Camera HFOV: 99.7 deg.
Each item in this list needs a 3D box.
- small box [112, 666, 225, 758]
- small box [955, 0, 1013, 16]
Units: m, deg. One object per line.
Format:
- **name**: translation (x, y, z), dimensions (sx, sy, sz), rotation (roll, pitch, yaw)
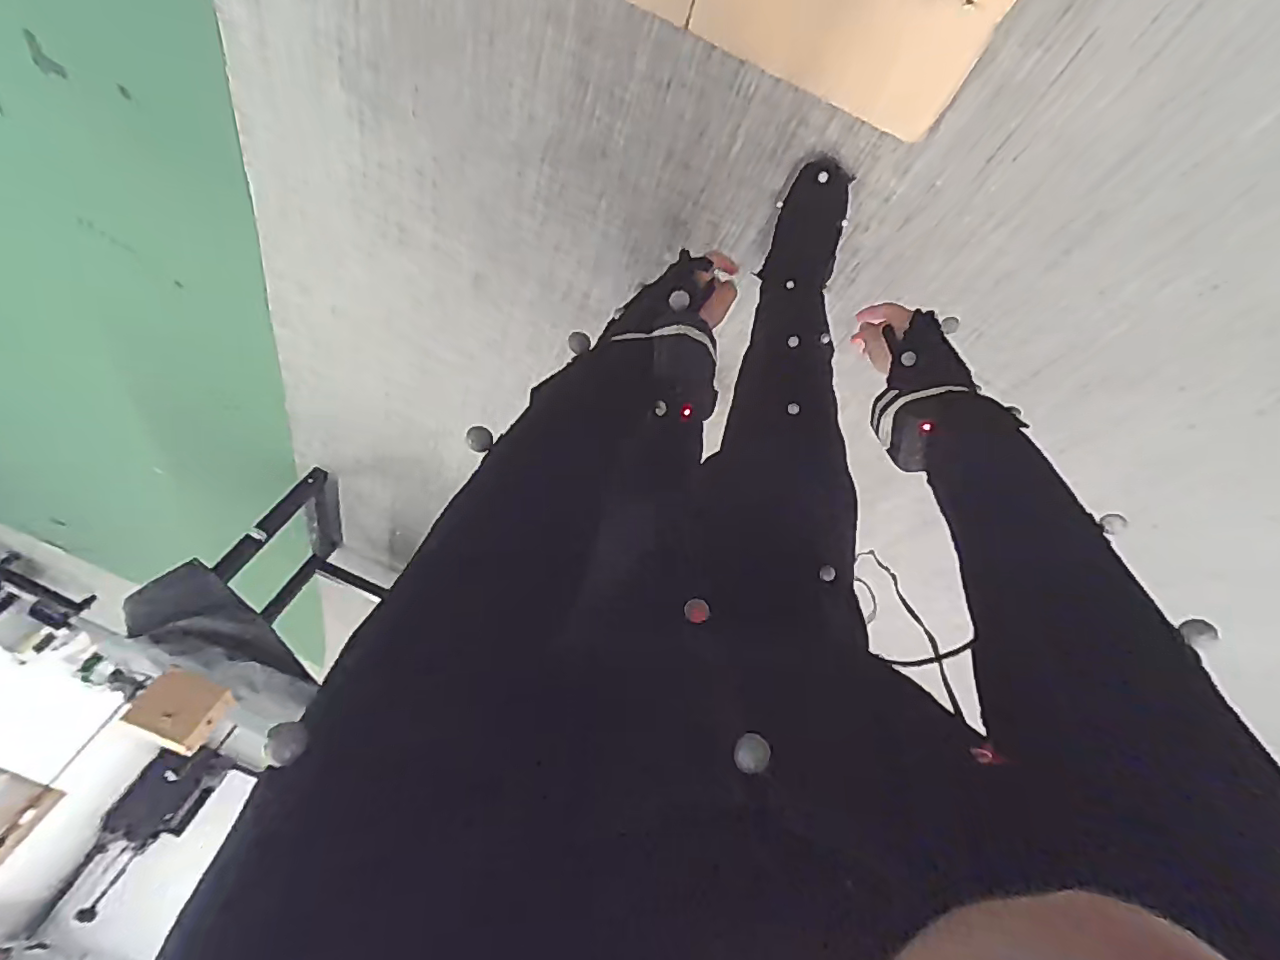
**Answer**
- **small box**: translation (-1.320, 0.656, 1.535), dimensions (0.179, 0.176, 0.168), rotation (31, 135, -8)
- **small box**: translation (0.380, -0.660, 0.602), dimensions (0.179, 0.176, 0.168), rotation (26, 136, -5)
